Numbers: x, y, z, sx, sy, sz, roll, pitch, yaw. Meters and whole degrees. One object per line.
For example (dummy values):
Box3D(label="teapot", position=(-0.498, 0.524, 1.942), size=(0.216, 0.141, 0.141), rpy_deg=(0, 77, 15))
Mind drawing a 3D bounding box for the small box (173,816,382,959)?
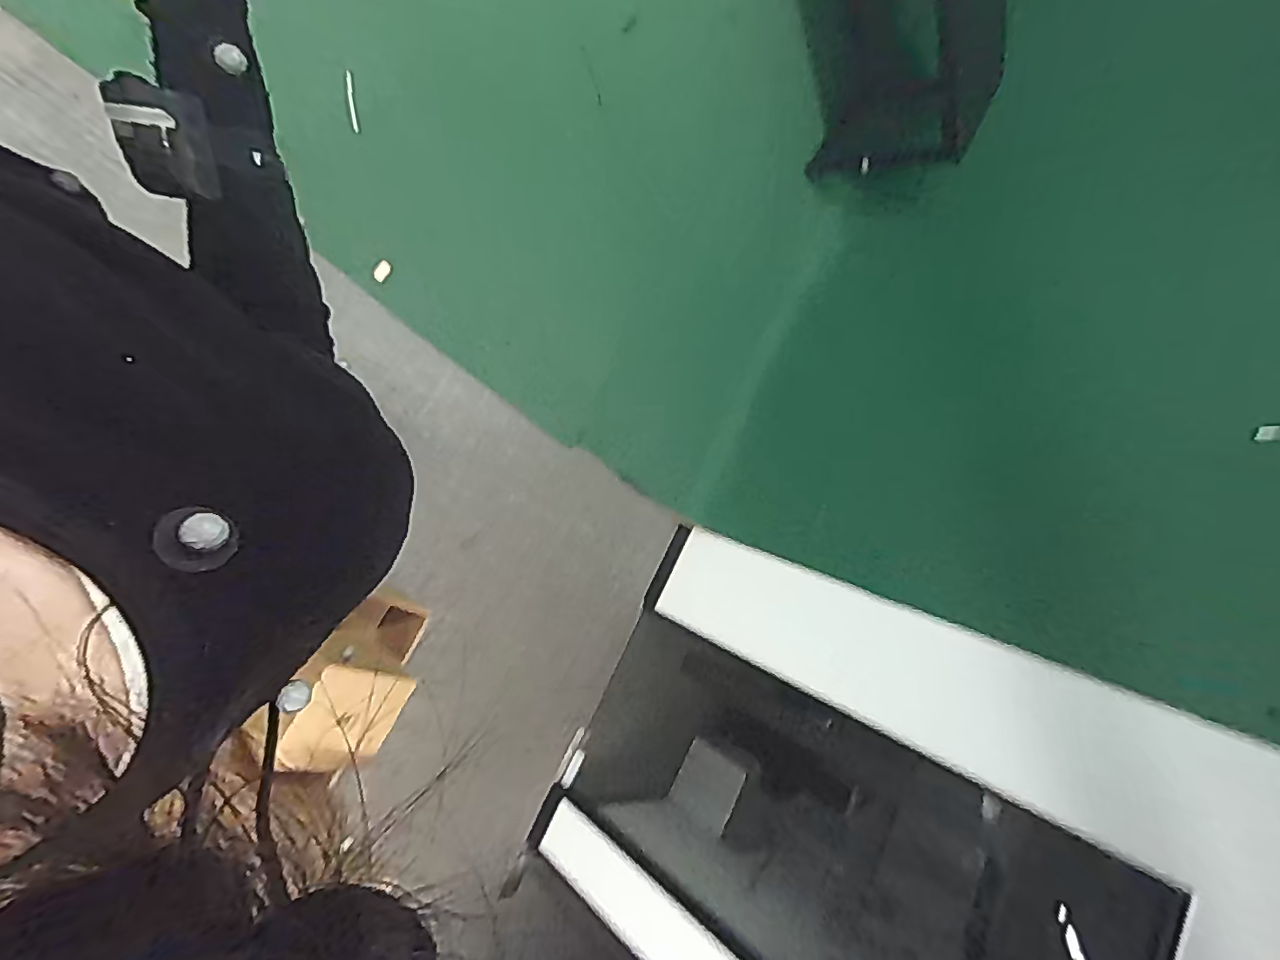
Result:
Box3D(label="small box", position=(-0.531, 0.627, 0.793), size=(0.179, 0.176, 0.168), rpy_deg=(-58, 141, -16))

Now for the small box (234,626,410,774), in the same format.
Box3D(label="small box", position=(-0.543, 0.370, 0.922), size=(0.168, 0.176, 0.179), rpy_deg=(-60, 140, -11))
